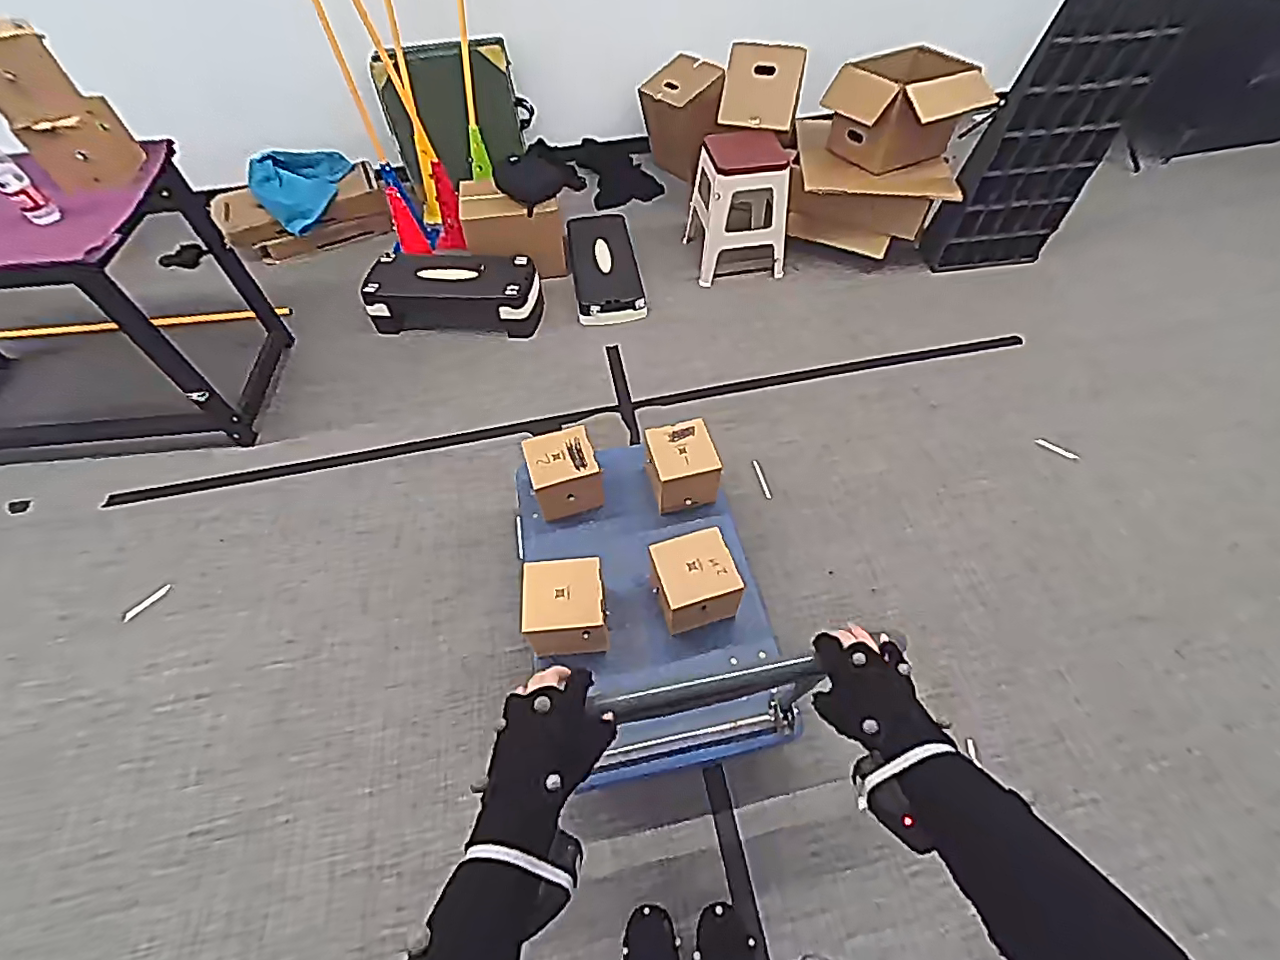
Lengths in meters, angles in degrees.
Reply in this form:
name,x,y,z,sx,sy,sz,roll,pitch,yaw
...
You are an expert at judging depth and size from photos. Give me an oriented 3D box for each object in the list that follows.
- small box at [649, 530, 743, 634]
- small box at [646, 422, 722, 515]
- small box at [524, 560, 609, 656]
name,x,y,z,sx,sy,sz,roll,pitch,yaw
small box,0.130,0.249,1.297,0.179,0.176,0.168,-15,56,-8
small box,0.113,-0.029,1.492,0.168,0.176,0.179,-13,57,-7
small box,-0.168,0.304,1.267,0.179,0.176,0.168,-4,55,-3
